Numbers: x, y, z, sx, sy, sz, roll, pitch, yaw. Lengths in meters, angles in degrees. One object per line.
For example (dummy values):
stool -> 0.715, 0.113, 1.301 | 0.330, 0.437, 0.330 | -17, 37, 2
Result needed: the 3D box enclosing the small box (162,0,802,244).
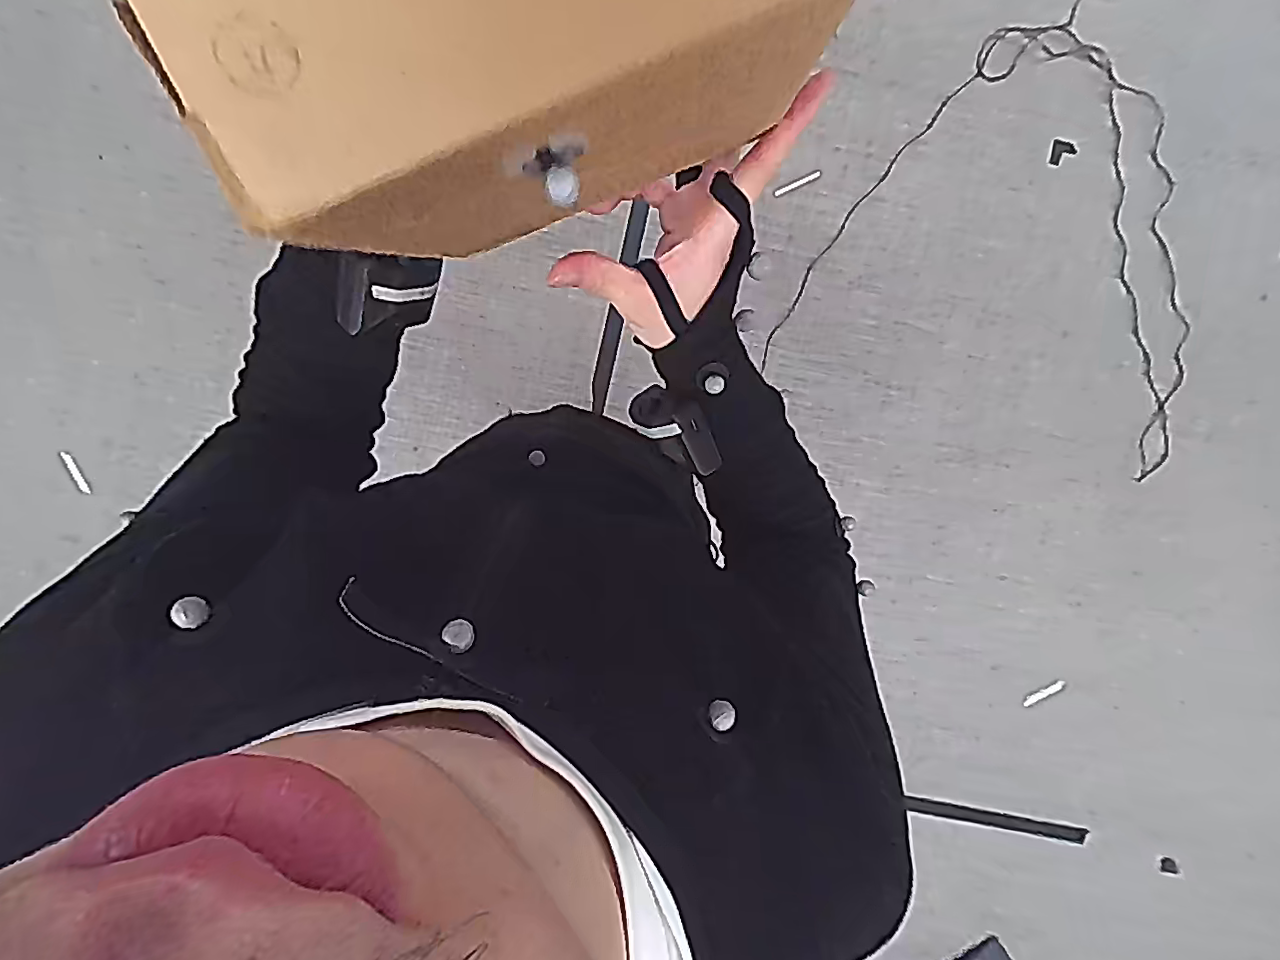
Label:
small box -> -0.048, -0.201, 0.196 | 0.179, 0.176, 0.168 | -18, 108, 10
